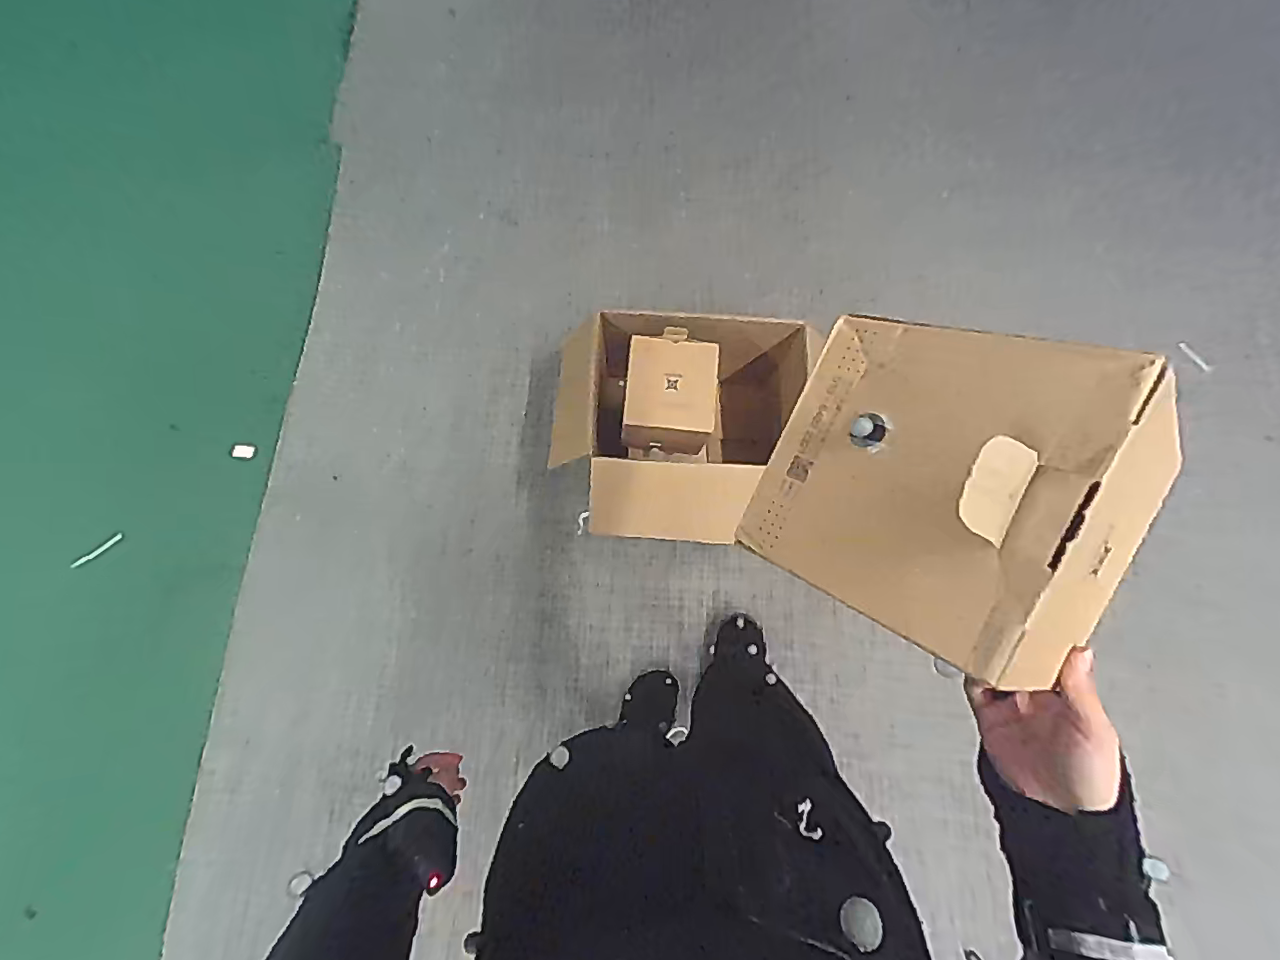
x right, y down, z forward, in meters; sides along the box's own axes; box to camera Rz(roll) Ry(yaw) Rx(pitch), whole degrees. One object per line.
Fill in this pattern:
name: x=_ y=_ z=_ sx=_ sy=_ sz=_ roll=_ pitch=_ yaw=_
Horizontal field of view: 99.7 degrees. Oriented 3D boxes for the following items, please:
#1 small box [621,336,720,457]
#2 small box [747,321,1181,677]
small box: x=0.054 y=-0.156 z=1.060 sx=0.168 sy=0.176 sz=0.179 roll=6 pitch=78 yaw=-2
small box: x=0.207 y=0.009 z=0.360 sx=0.176 sy=0.179 sz=0.168 roll=29 pitch=96 yaw=48
